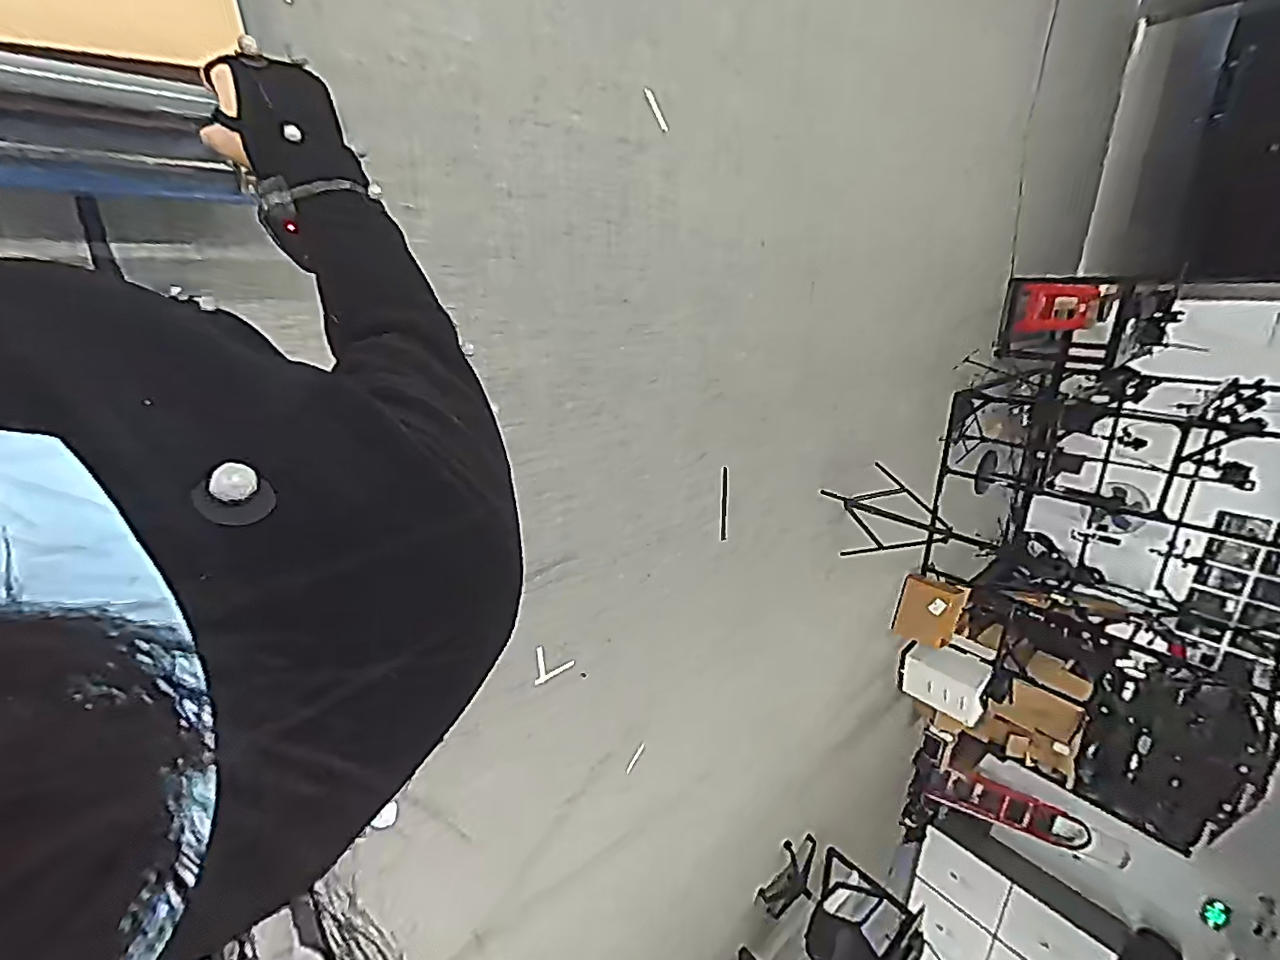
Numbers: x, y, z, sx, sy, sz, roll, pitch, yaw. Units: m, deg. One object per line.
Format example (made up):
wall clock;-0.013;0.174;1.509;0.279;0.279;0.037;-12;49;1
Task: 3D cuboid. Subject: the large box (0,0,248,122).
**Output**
large box;-0.803;-0.681;0.683;0.408;0.320;0.320;-22;119;-37
